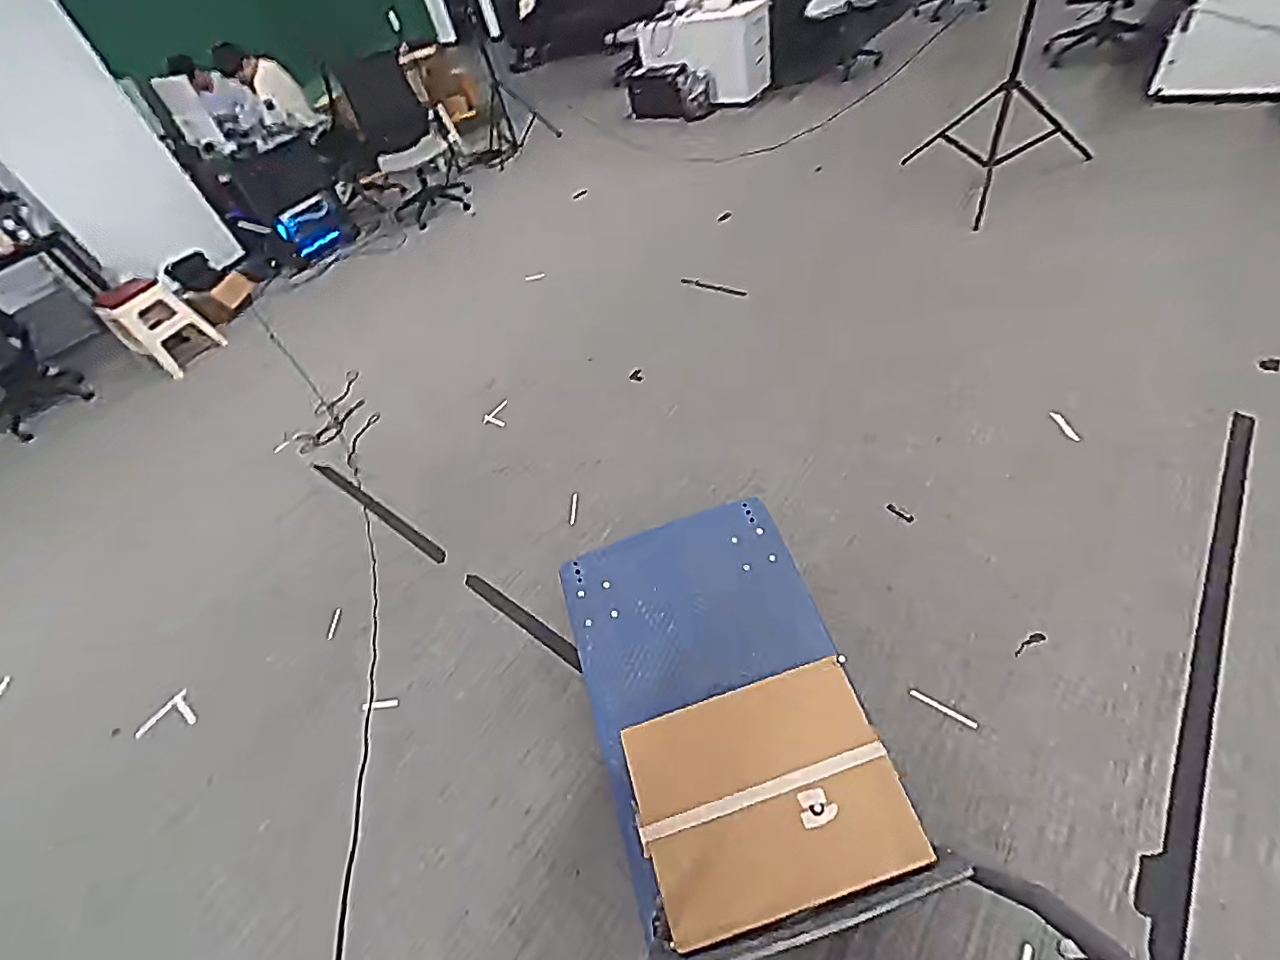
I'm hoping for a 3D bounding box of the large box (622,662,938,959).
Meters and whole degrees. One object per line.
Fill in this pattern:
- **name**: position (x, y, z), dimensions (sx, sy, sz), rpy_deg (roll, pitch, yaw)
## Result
- **large box**: position (0.219, 0.577, 0.969), dimensions (0.408, 0.320, 0.320), rpy_deg (-19, 58, -2)
